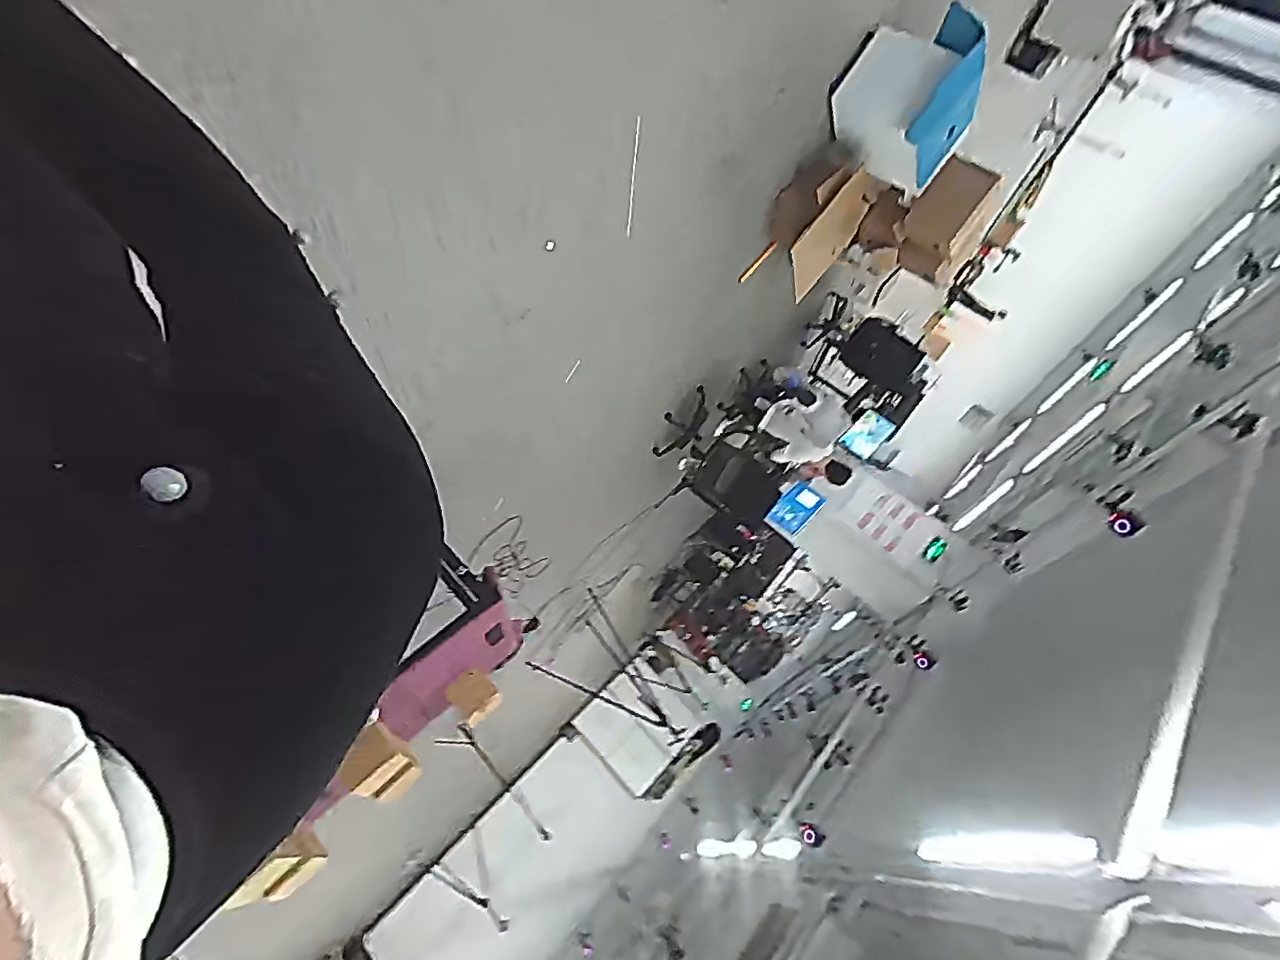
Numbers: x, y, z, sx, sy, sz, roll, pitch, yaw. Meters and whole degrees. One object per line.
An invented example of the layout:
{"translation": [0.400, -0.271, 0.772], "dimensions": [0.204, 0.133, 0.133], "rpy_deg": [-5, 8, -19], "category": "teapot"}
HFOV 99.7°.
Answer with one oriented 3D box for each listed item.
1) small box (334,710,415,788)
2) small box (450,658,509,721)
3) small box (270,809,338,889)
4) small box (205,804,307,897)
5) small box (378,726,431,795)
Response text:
{"translation": [-0.908, 0.919, 1.854], "dimensions": [0.168, 0.176, 0.179], "rpy_deg": [-38, 159, -26], "category": "small box"}
{"translation": [-0.672, 0.873, 2.264], "dimensions": [0.168, 0.176, 0.179], "rpy_deg": [-39, 159, -26], "category": "small box"}
{"translation": [-1.216, 1.298, 1.912], "dimensions": [0.168, 0.176, 0.179], "rpy_deg": [-39, 159, -28], "category": "small box"}
{"translation": [-1.179, 1.134, 1.668], "dimensions": [0.168, 0.176, 0.179], "rpy_deg": [-40, 159, -27], "category": "small box"}
{"translation": [-0.944, 1.084, 2.093], "dimensions": [0.168, 0.176, 0.179], "rpy_deg": [-39, 158, -28], "category": "small box"}
